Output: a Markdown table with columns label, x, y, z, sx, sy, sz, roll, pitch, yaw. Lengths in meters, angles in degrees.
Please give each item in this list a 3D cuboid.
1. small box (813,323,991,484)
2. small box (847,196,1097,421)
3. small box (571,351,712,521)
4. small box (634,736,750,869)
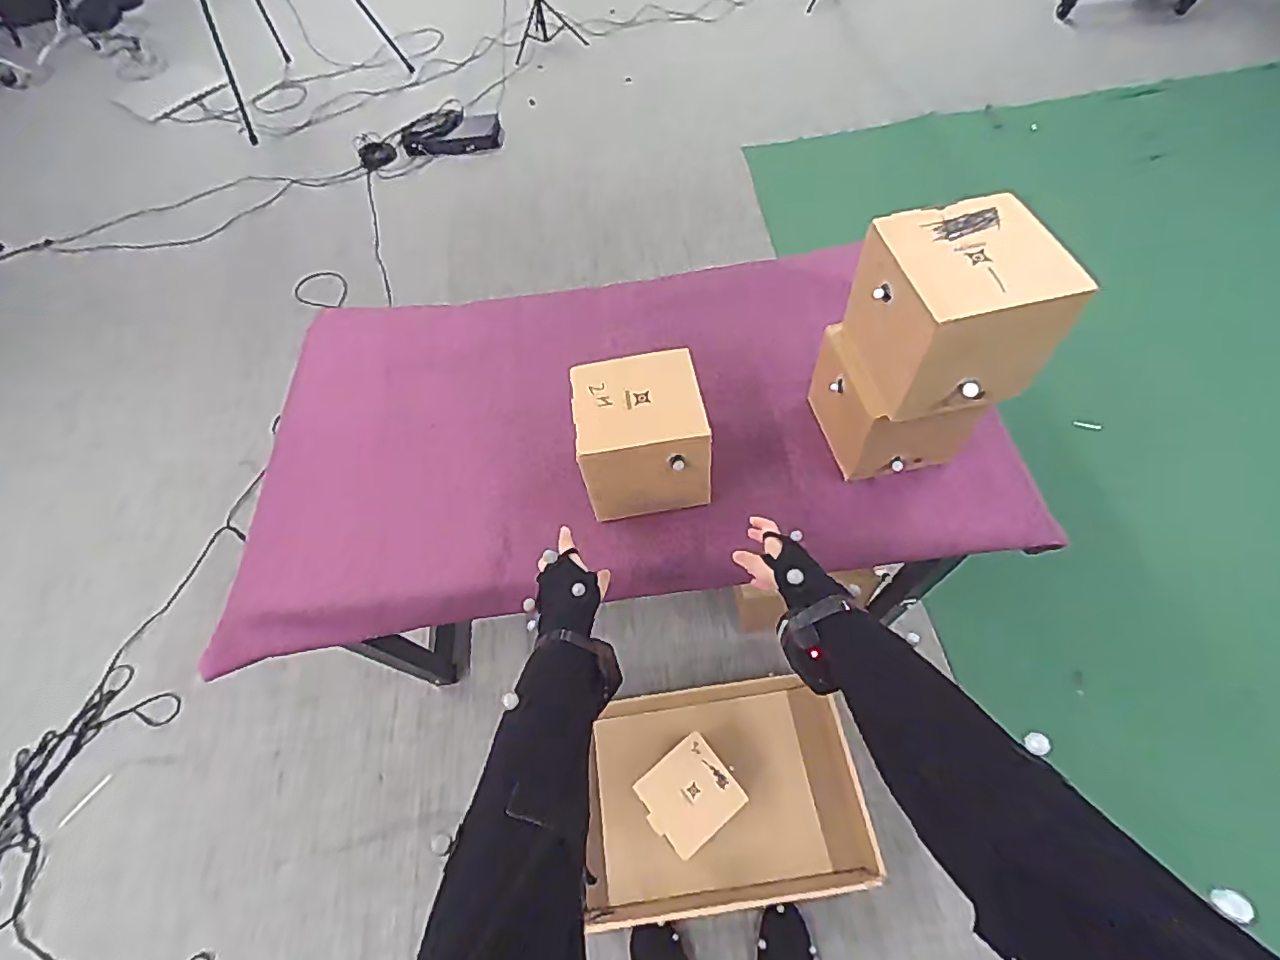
| label | x | y | z | sx | sy | sz | roll | pitch | yaw |
| --- | --- | --- | --- | --- | --- | --- | --- | --- | --- |
| small box | 0.366 | -0.120 | 0.790 | 0.168 | 0.176 | 0.179 | -12 | 58 | 1 |
| small box | 0.366 | -0.198 | 0.643 | 0.168 | 0.176 | 0.179 | -12 | 58 | 1 |
| small box | 0.004 | -0.059 | 0.790 | 0.179 | 0.176 | 0.168 | -10 | 54 | 1 |
| small box | 0.113 | 0.675 | 1.141 | 0.179 | 0.176 | 0.168 | -36 | 62 | -14 |
